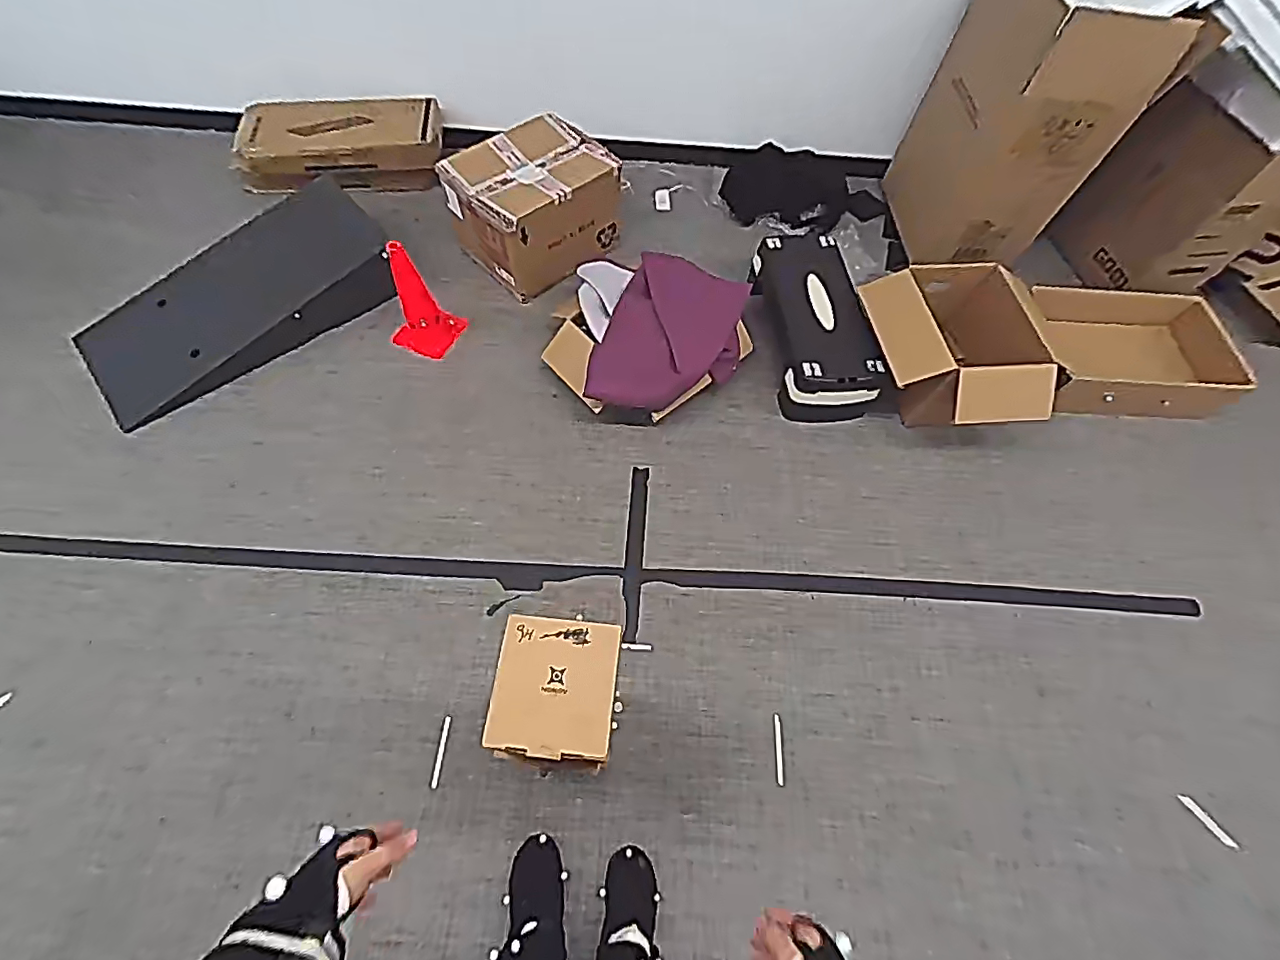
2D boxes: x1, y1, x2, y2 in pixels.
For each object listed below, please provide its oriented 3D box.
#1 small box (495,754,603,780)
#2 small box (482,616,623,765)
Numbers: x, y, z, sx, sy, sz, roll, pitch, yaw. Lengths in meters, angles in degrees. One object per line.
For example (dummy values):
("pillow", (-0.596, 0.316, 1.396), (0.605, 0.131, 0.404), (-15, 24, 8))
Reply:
("small box", (-0.134, 0.405, 0.934), (0.168, 0.176, 0.179), (9, 63, 3))
("small box", (-0.116, 0.314, 0.797), (0.168, 0.176, 0.179), (6, 62, 1))
